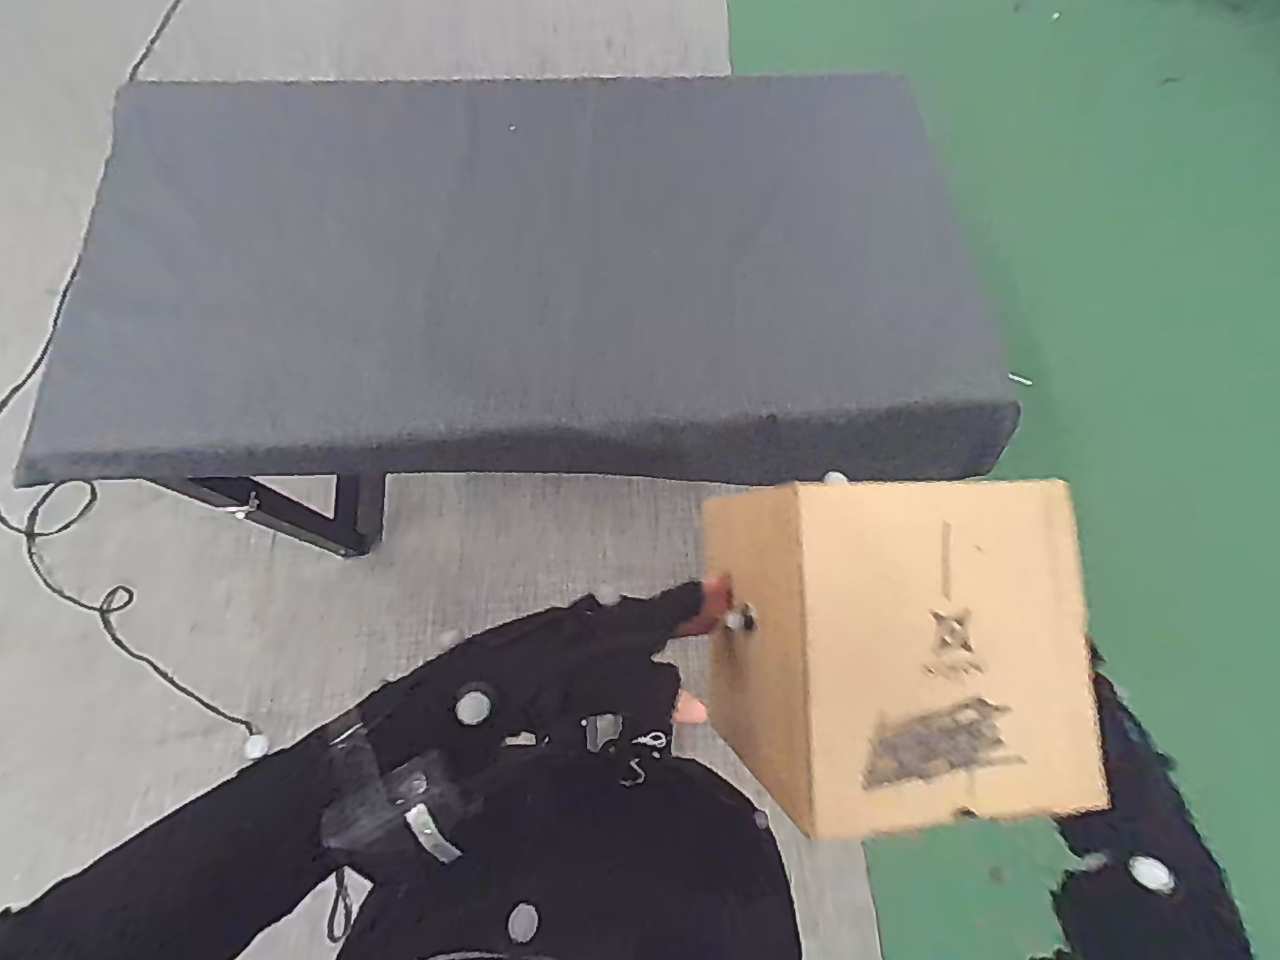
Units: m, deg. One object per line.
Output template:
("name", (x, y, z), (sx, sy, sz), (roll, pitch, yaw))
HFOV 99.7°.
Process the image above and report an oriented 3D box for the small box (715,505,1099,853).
("small box", (0.153, 0.108, 0.365), (0.168, 0.176, 0.179), (0, 84, -9))
